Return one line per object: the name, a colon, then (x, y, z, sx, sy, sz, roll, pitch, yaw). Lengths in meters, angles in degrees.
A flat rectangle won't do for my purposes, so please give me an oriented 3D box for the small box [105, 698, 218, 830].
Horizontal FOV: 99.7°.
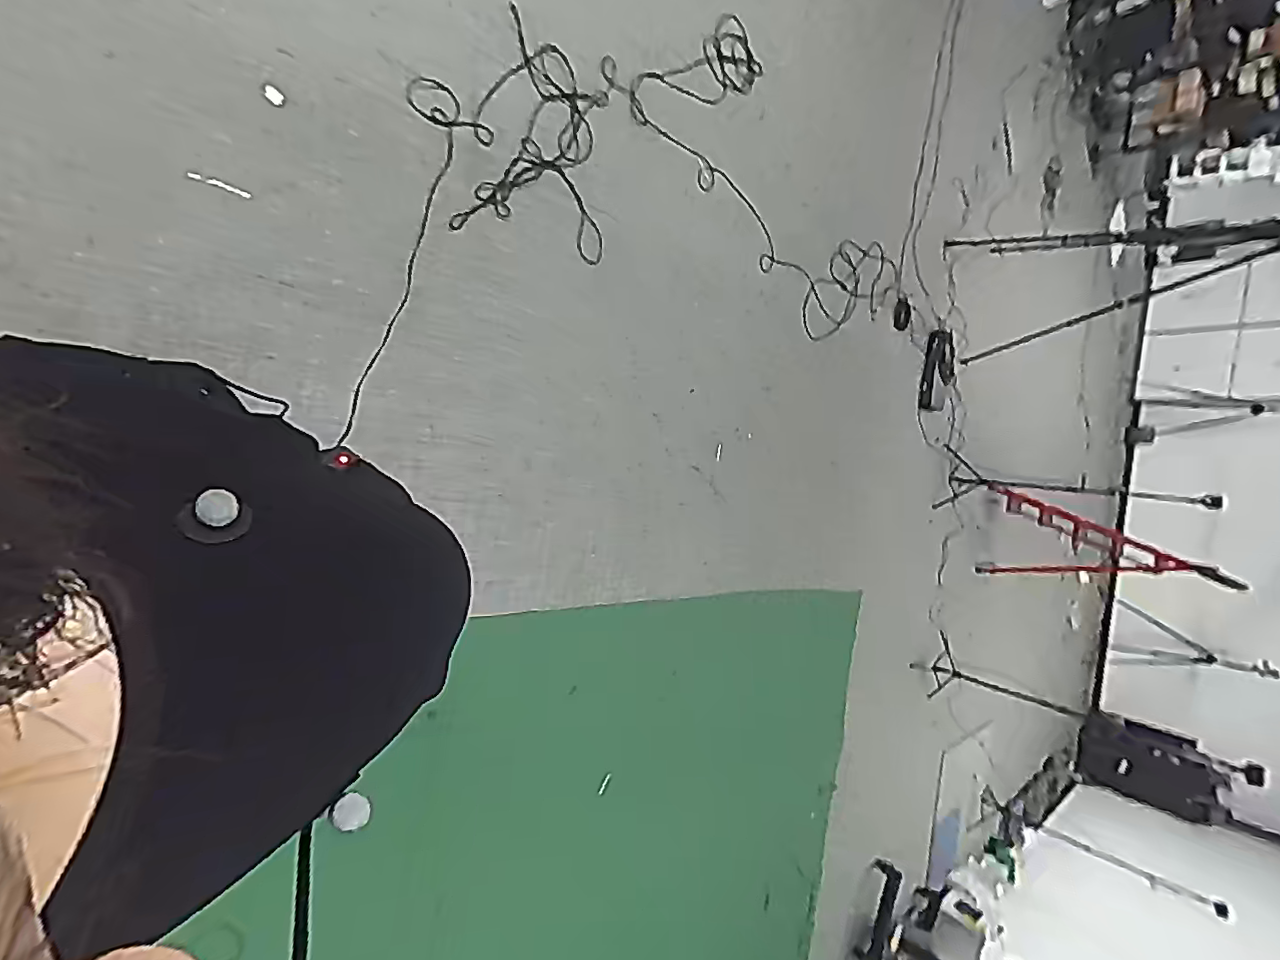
small box: (-1.007, 0.581, 1.141, 0.168, 0.176, 0.179, 3, 95, -41)
